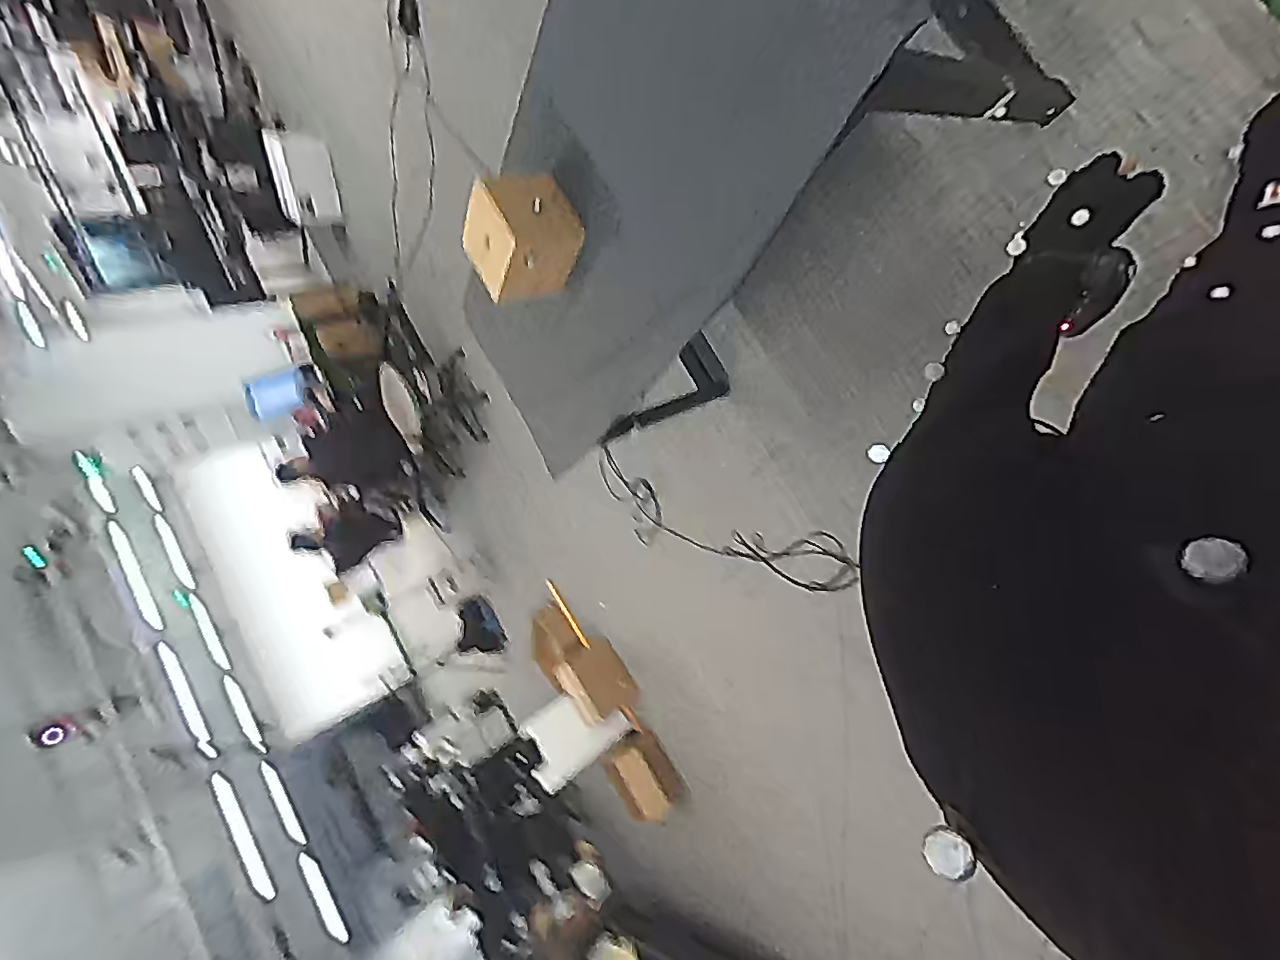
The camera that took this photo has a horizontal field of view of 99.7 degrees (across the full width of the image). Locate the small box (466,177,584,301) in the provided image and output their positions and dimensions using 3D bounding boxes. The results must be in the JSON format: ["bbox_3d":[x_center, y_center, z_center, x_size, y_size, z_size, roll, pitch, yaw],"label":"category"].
[{"bbox_3d":[-0.240,-0.510,1.138,0.168,0.176,0.179,60,146,9],"label":"small box"}]
